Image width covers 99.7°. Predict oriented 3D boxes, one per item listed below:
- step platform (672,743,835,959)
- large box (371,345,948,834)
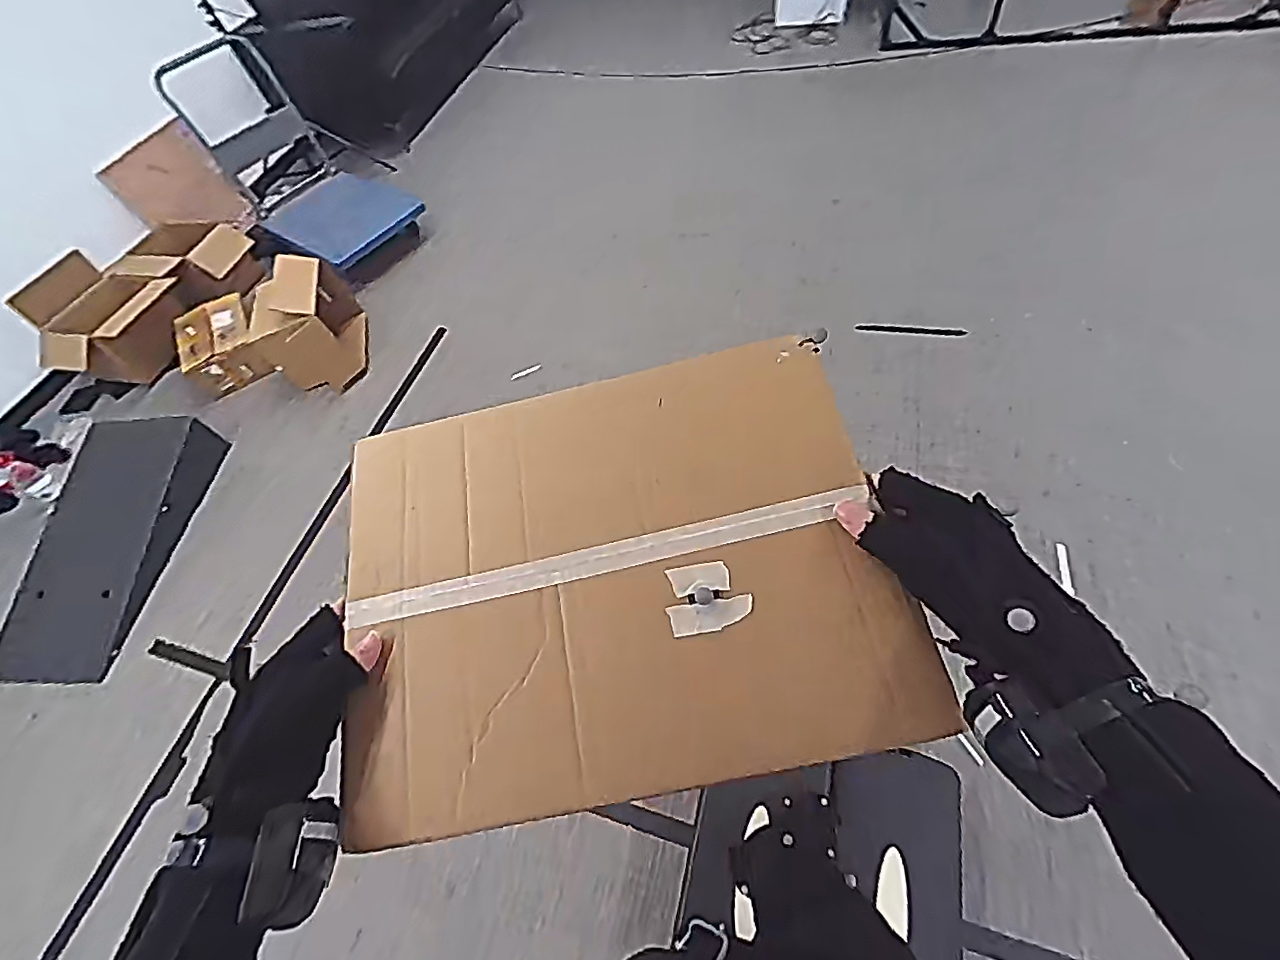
[{"bbox_3d":[0.264,0.836,1.215,0.286,0.204,0.684,8,58,16],"label":"step platform"},{"bbox_3d":[0.001,0.121,0.555,0.408,0.320,0.320,-13,66,3],"label":"large box"}]
